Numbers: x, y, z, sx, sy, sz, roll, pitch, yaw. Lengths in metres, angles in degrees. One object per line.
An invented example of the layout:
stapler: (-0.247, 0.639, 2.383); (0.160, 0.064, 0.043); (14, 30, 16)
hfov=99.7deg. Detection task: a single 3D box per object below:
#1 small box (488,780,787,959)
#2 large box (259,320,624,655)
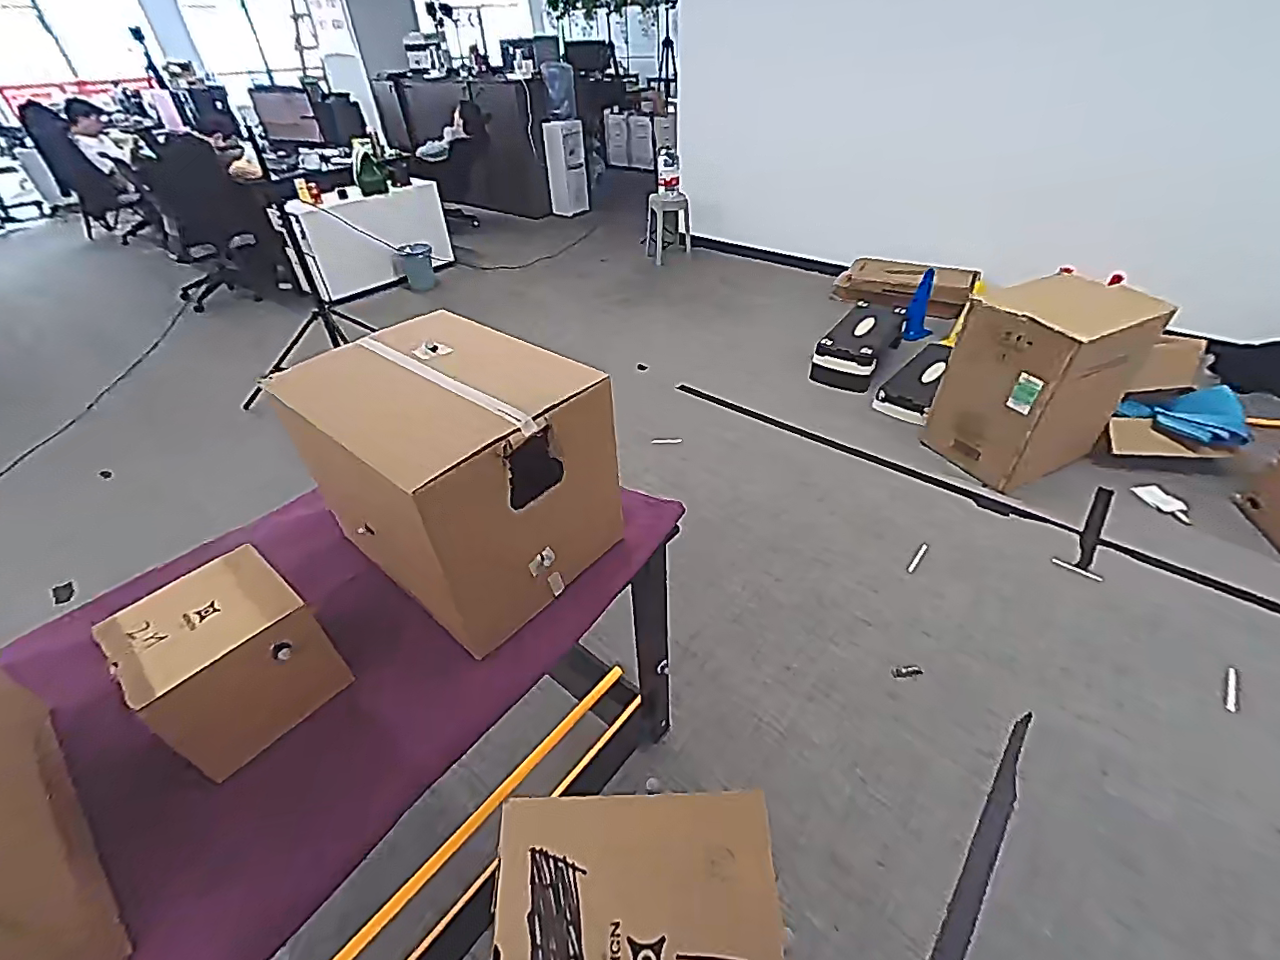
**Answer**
small box: (0.006, 0.313, 0.377); (0.179, 0.176, 0.168); (-5, 56, 4)
large box: (-0.279, -0.013, 0.839); (0.408, 0.320, 0.320); (25, 46, 32)
